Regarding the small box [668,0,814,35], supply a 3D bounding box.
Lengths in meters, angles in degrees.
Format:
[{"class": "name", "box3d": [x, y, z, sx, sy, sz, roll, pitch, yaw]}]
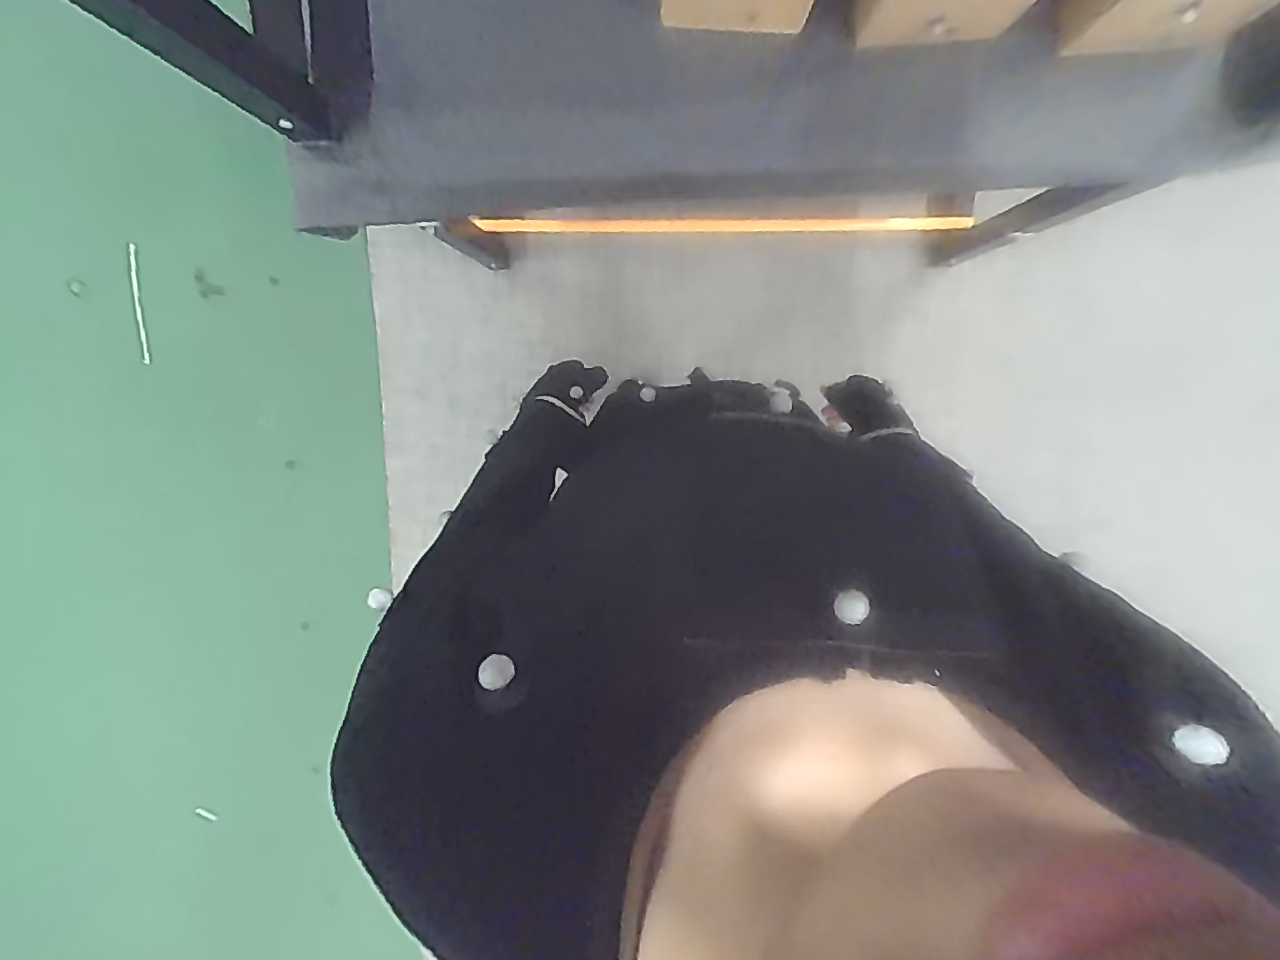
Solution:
[{"class": "small box", "box3d": [0.115, -0.599, 0.550, 0.168, 0.176, 0.179, 5, 101, 2]}]
